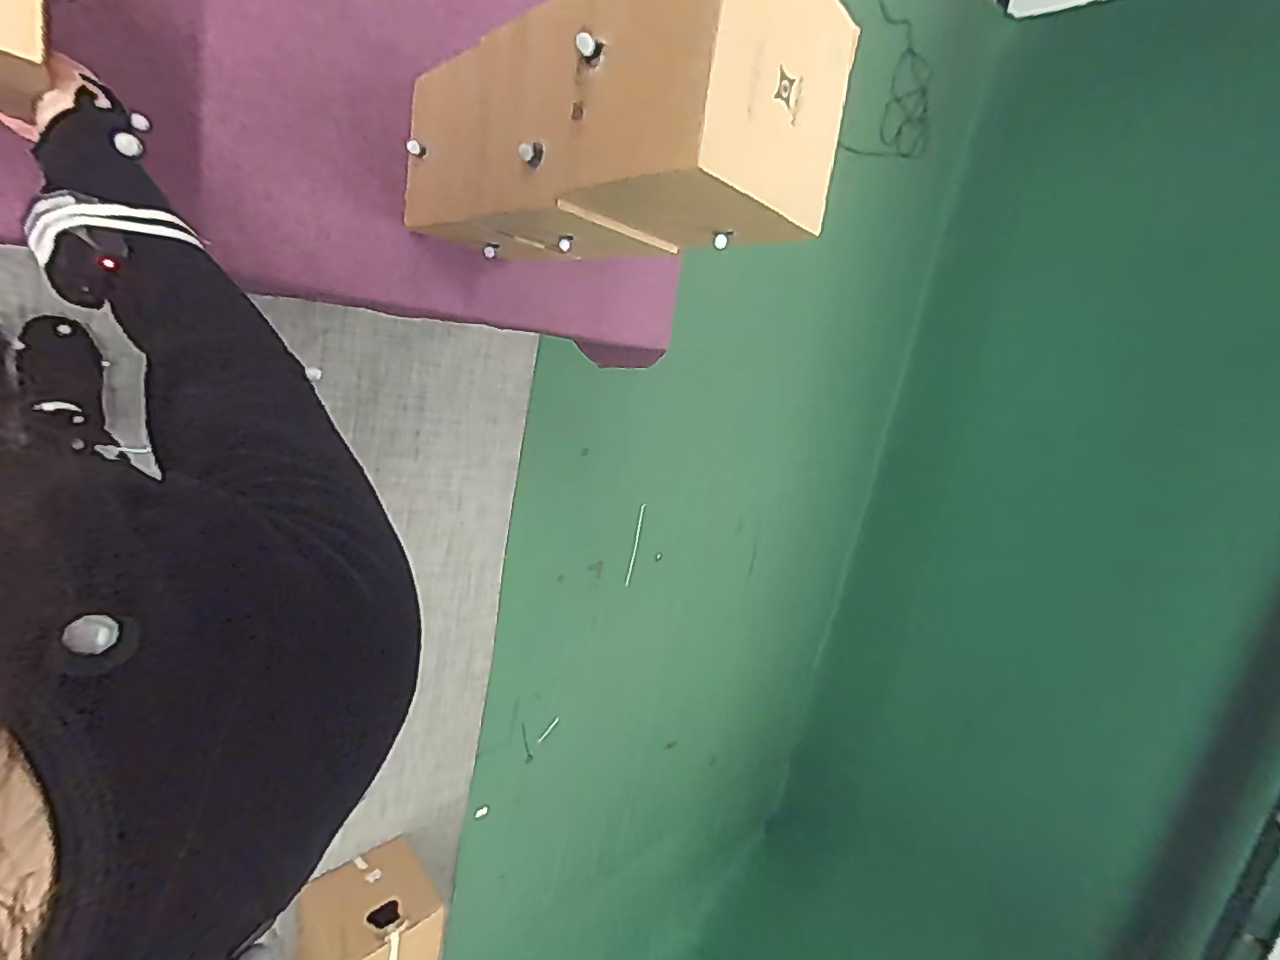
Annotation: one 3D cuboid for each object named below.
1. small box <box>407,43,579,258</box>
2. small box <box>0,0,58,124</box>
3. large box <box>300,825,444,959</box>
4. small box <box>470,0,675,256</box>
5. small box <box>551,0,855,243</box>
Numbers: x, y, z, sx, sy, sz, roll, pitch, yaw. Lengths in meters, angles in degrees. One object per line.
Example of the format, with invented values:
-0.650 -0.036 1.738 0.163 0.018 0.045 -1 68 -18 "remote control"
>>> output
-0.177 -0.393 0.683 0.168 0.176 0.179 -4 109 -47 "small box"
-0.492 -0.368 0.341 0.168 0.176 0.179 -2 103 -46 "small box"
-0.858 1.426 1.716 0.320 0.320 0.408 -3 109 -47 "large box"
-0.063 -0.348 0.572 0.168 0.176 0.179 -4 108 -47 "small box"
0.051 -0.310 0.461 0.179 0.176 0.168 -4 107 -45 "small box"
